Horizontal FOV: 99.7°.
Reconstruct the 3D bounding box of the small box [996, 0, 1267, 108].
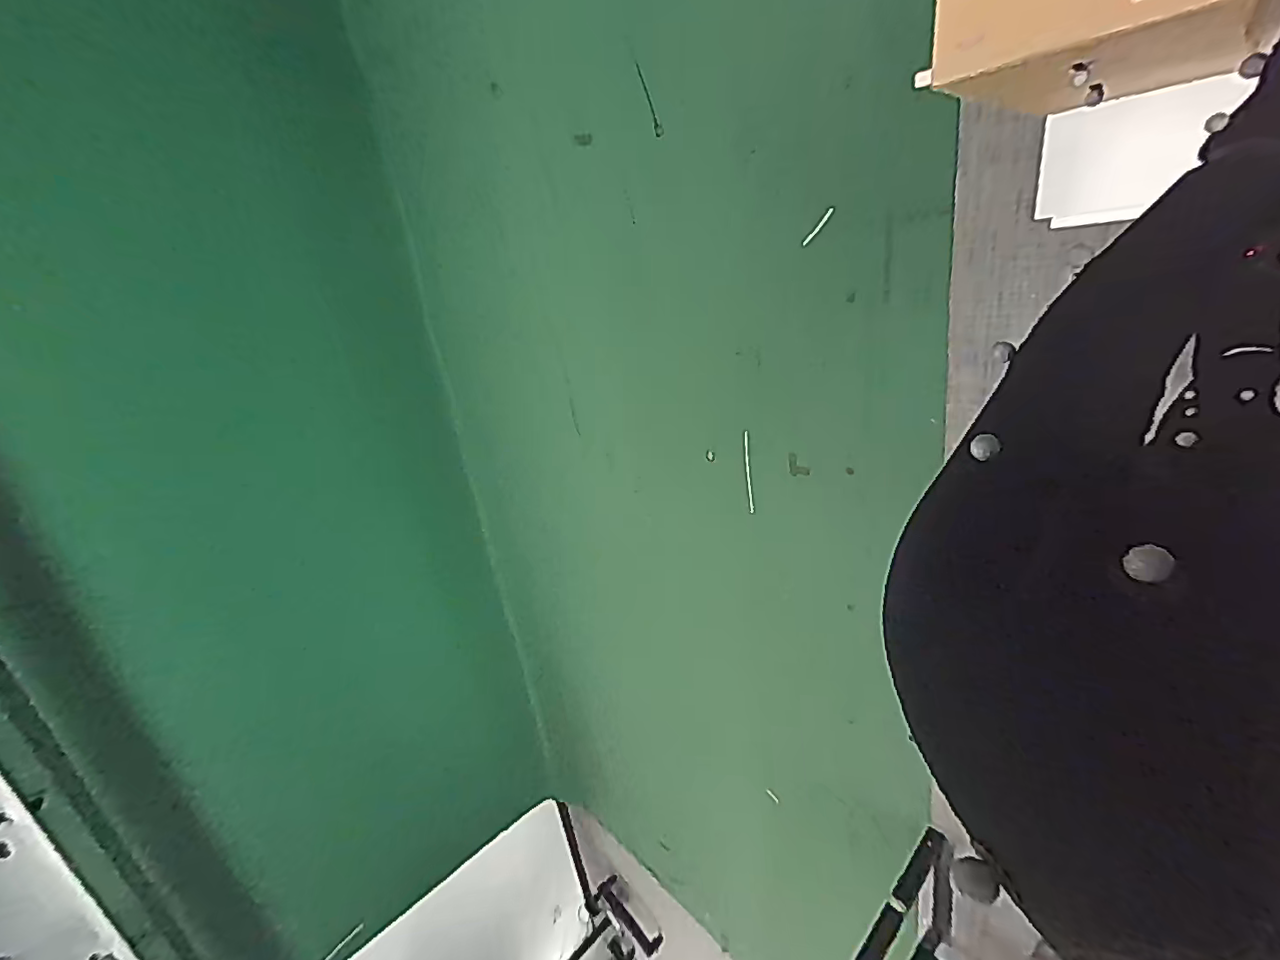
[{"bbox_3d":[0.464,-0.469,0.503,0.179,0.176,0.168,14,120,43],"label":"small box"}]
